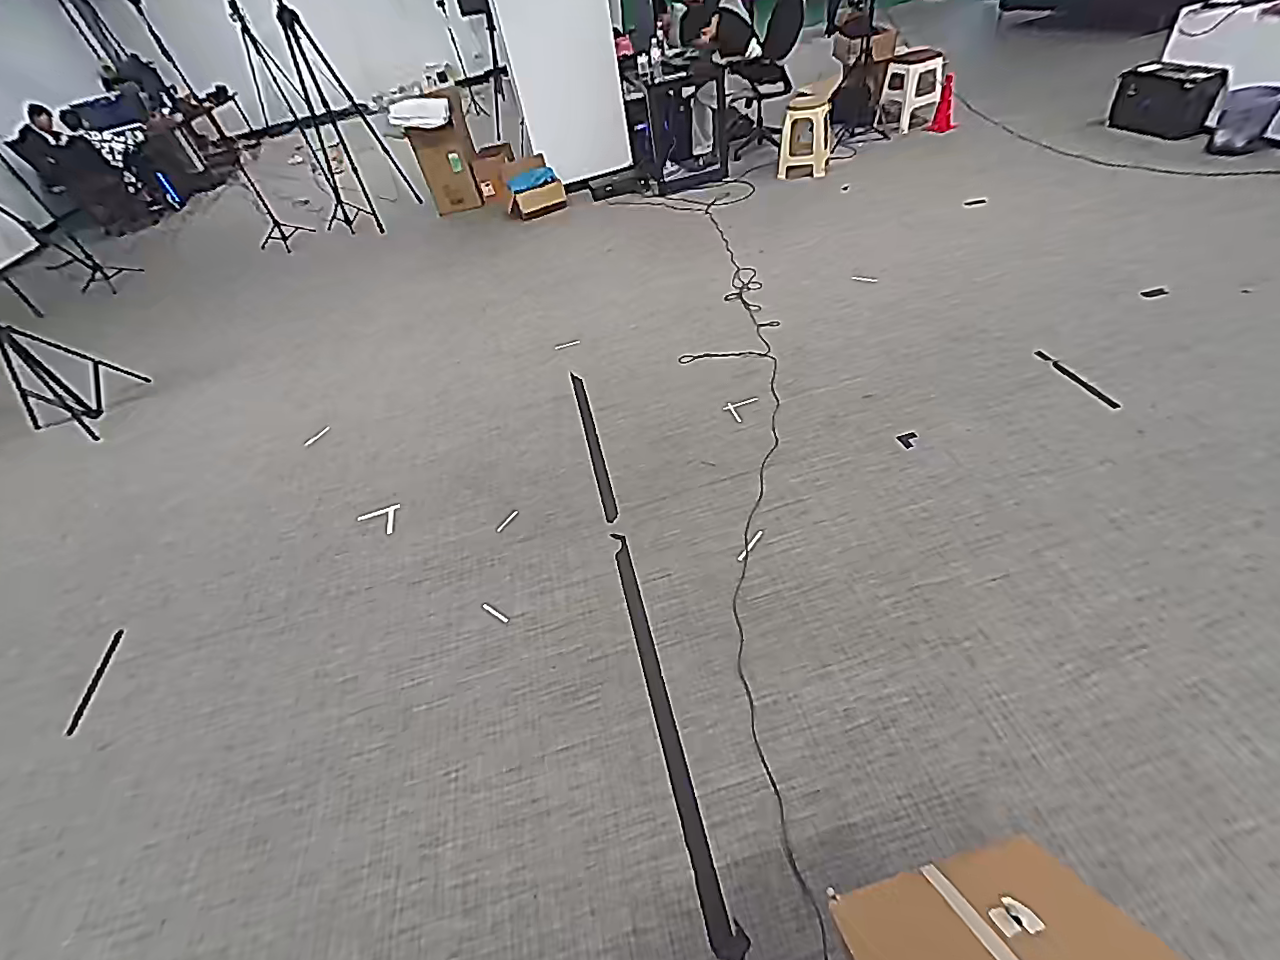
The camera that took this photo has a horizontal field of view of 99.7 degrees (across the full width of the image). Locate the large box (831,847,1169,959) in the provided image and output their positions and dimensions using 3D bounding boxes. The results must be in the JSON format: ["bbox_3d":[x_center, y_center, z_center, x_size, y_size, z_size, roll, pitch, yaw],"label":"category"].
[{"bbox_3d":[0.472,0.708,0.587,0.320,0.408,0.320,-16,83,-2],"label":"large box"}]
